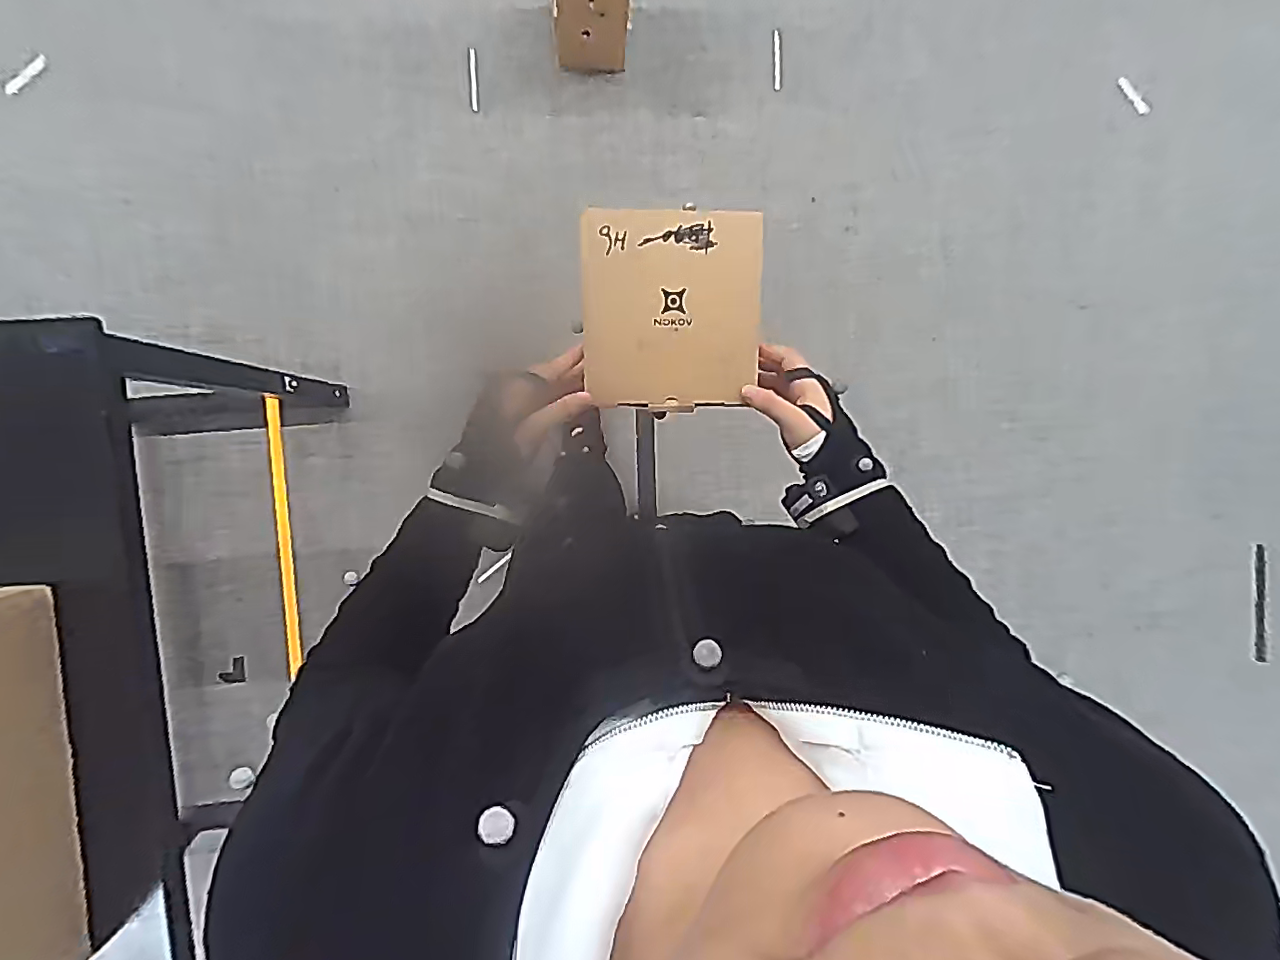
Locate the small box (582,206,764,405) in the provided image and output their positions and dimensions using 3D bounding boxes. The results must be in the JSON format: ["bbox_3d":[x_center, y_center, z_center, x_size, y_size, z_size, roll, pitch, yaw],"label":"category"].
[{"bbox_3d":[0.026,-0.173,0.575,0.168,0.176,0.179,-1,101,-4],"label":"small box"}]

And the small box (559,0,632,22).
[{"bbox_3d":[-0.097,-1.141,1.156,0.168,0.176,0.179,0,94,-4],"label":"small box"}]

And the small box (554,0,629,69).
[{"bbox_3d":[-0.114,-1.147,1.320,0.179,0.176,0.168,1,94,-4],"label":"small box"}]
